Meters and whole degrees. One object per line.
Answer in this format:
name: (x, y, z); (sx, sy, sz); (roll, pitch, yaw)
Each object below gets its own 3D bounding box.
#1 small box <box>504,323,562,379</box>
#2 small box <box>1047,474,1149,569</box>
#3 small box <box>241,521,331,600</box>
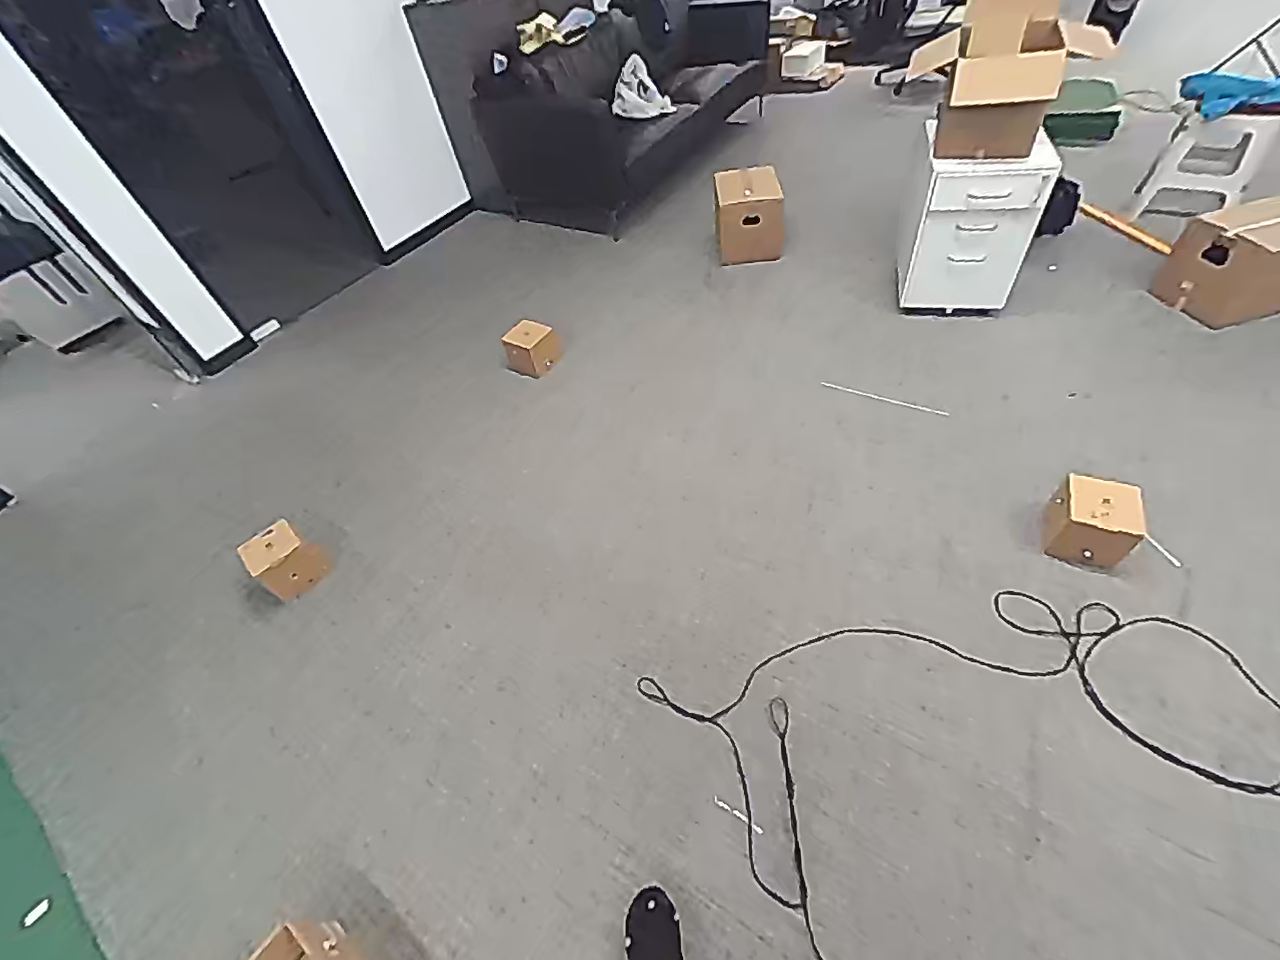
small box: (-0.481, -0.584, 2.459); (0.179, 0.176, 0.168); (23, 58, 26)
small box: (1.267, 0.116, 1.510); (0.168, 0.176, 0.179); (14, 54, 21)
small box: (-1.186, 0.279, 1.821); (0.168, 0.176, 0.179); (-40, 54, -23)
